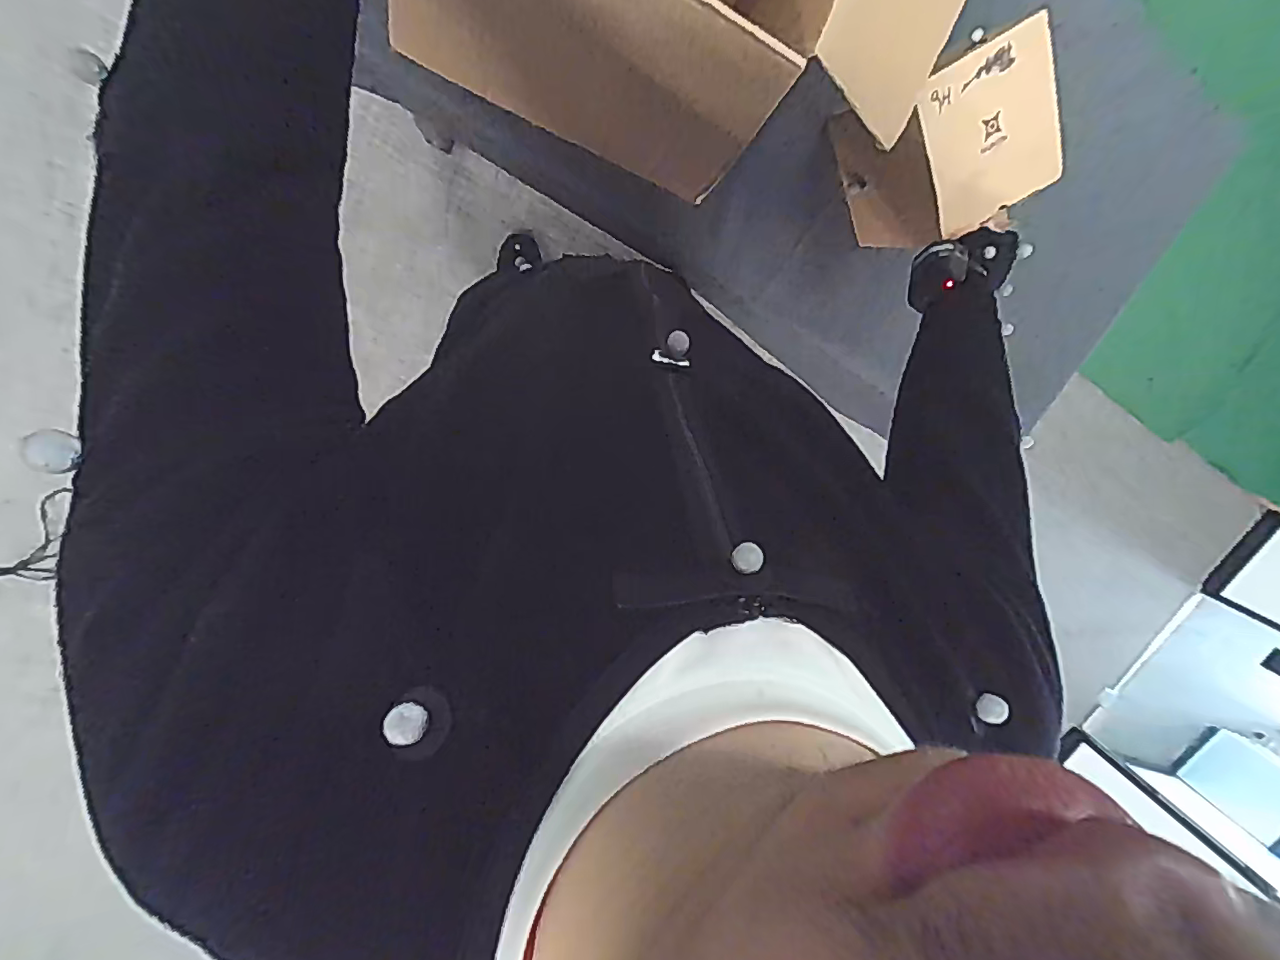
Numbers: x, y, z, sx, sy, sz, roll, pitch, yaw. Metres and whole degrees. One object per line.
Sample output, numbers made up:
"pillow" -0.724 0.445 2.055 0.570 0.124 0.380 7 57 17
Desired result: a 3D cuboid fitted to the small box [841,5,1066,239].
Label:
"small box" 0.379 -0.425 0.669 0.168 0.176 0.179 -28 119 1
